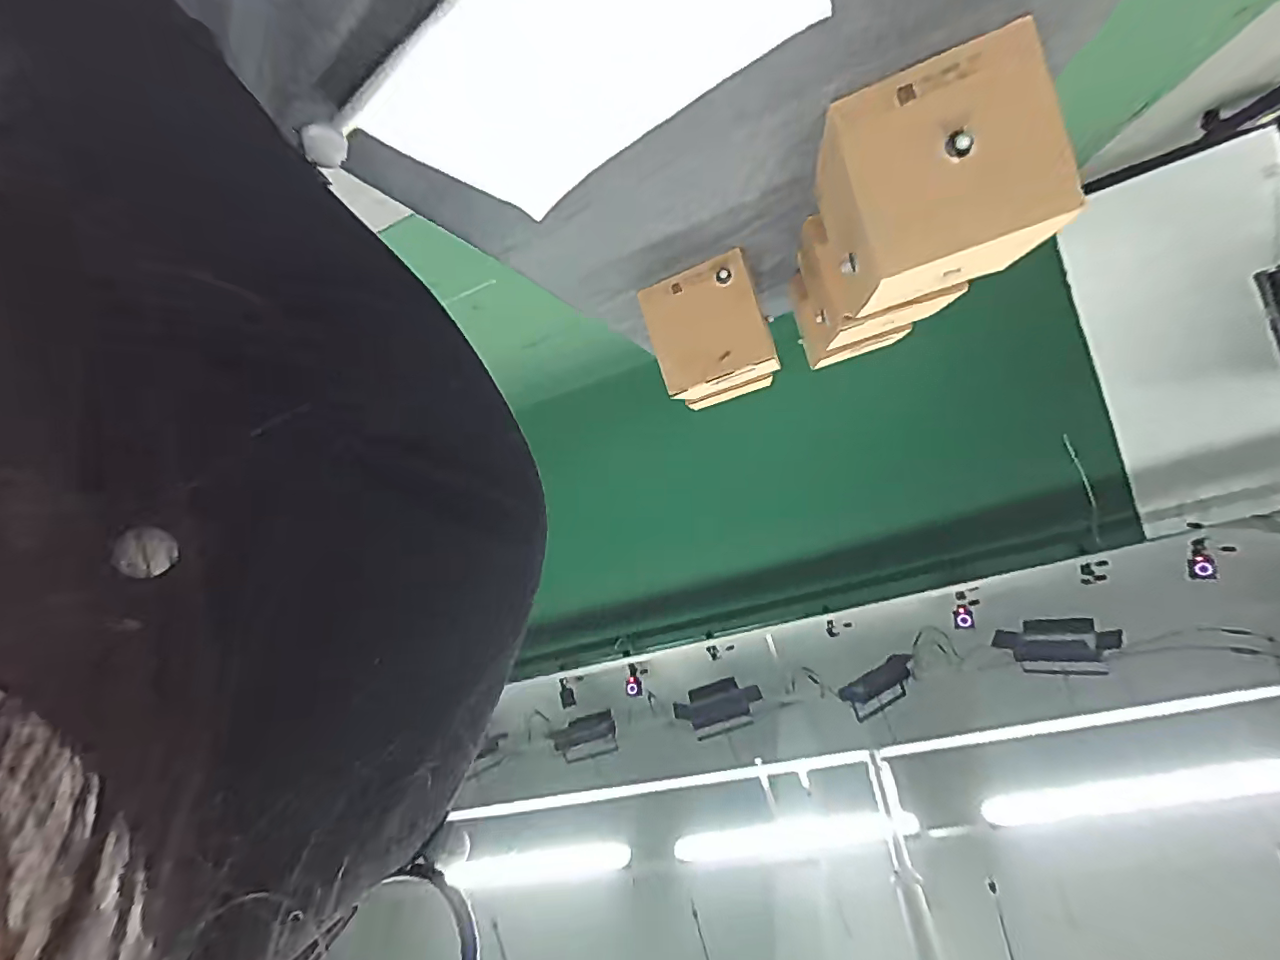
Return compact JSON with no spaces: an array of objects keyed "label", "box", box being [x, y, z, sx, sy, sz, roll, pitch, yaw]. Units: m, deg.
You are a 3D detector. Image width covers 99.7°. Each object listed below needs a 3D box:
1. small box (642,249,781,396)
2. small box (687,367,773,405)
[{"label":"small box","box":[0.119,-0.245,0.868,0.168,0.176,0.179,-18,-178,18]},{"label":"small box","box":[0.162,-0.267,1.126,0.179,0.176,0.168,-18,-179,12]}]
